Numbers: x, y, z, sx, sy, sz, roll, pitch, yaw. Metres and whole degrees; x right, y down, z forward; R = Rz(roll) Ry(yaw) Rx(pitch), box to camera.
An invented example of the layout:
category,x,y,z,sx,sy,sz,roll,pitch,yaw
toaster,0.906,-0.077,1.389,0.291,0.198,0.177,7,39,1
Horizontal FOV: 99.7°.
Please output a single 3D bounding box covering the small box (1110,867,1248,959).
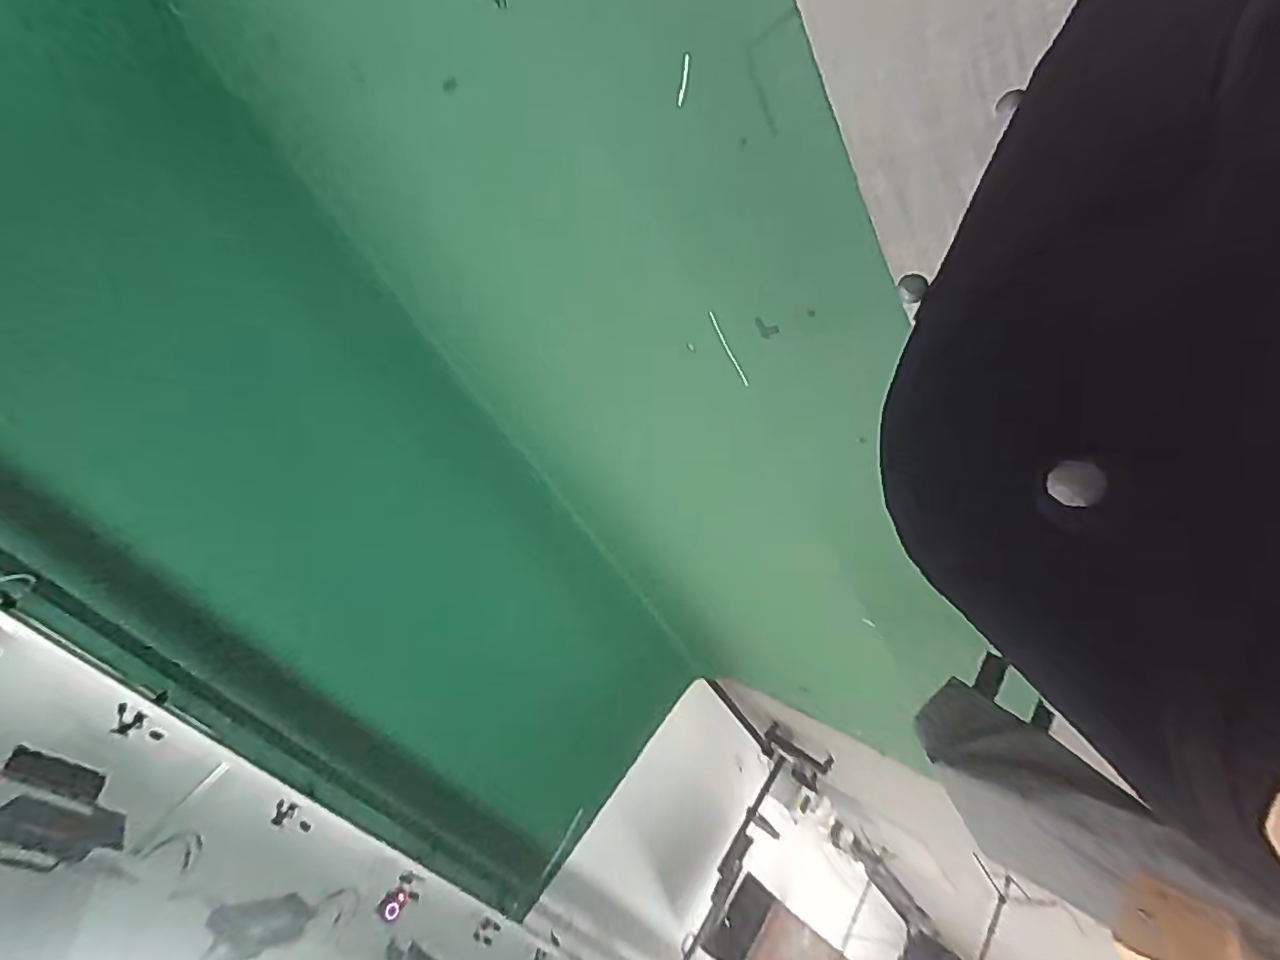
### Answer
category,x,y,z,sx,sy,sz,roll,pitch,yaw
small box,1.152,0.982,1.155,0.179,0.176,0.168,50,156,-20
